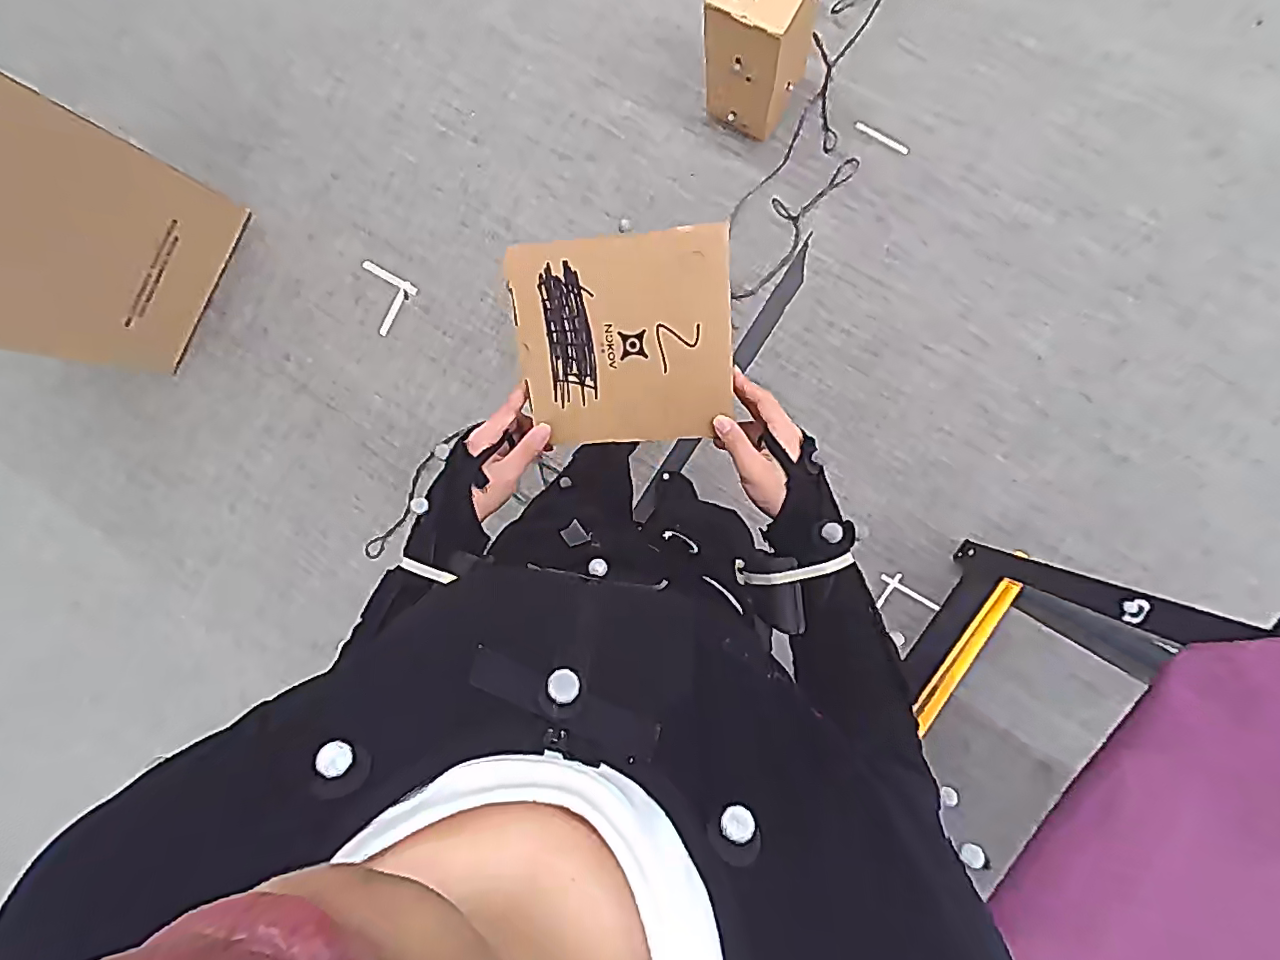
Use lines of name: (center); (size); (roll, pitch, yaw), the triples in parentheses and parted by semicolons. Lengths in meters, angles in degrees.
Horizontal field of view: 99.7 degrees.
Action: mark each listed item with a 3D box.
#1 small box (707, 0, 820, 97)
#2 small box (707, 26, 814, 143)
small box: (0.243, -0.914, 1.061); (0.168, 0.176, 0.179); (30, 96, 6)
small box: (0.264, -0.920, 1.225); (0.168, 0.176, 0.179); (32, 96, 6)
